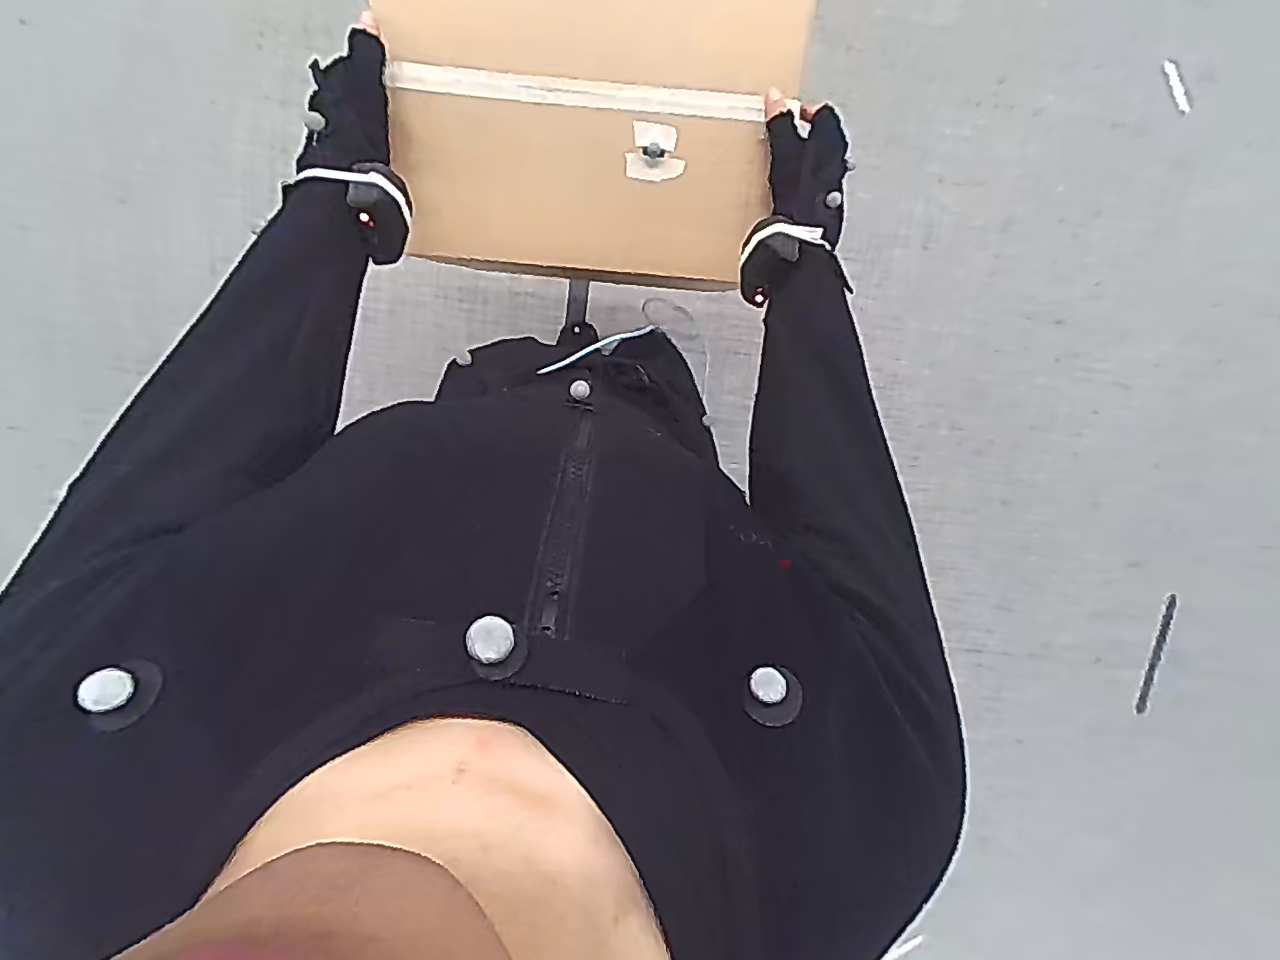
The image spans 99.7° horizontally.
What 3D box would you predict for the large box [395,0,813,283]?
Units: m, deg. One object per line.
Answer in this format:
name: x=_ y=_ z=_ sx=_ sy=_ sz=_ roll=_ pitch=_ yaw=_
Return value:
large box: x=-0.045 y=-0.428 z=0.677 sx=0.408 sy=0.320 sz=0.320 roll=4 pitch=109 yaw=-3
